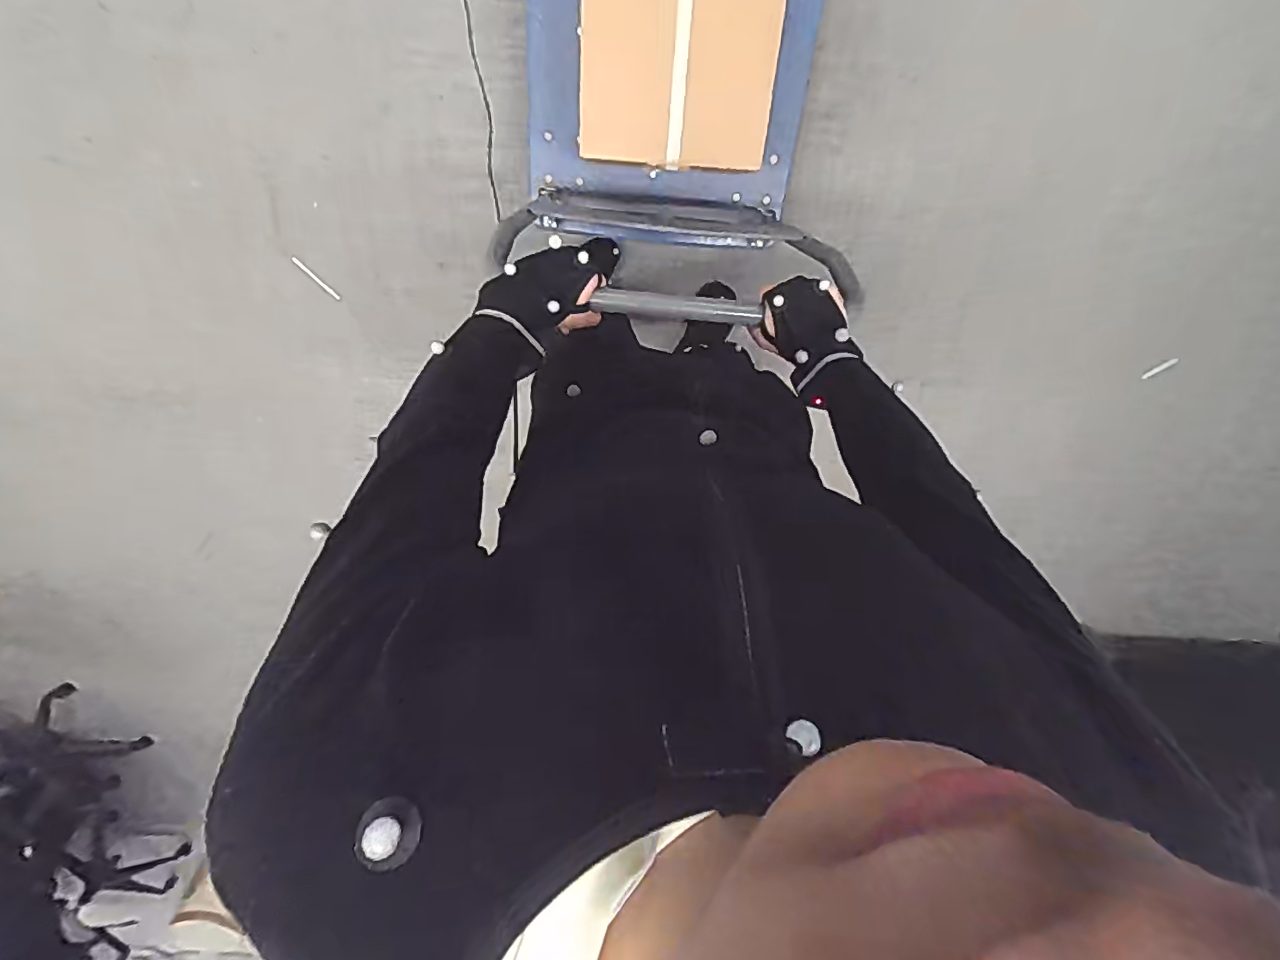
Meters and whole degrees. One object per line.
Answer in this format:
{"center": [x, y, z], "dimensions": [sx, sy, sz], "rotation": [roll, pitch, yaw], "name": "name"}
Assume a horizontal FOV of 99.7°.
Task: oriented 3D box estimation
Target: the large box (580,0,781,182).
{"center": [0.062, -0.774, 0.978], "dimensions": [0.320, 0.320, 0.408], "rotation": [2, 118, -2], "name": "large box"}
